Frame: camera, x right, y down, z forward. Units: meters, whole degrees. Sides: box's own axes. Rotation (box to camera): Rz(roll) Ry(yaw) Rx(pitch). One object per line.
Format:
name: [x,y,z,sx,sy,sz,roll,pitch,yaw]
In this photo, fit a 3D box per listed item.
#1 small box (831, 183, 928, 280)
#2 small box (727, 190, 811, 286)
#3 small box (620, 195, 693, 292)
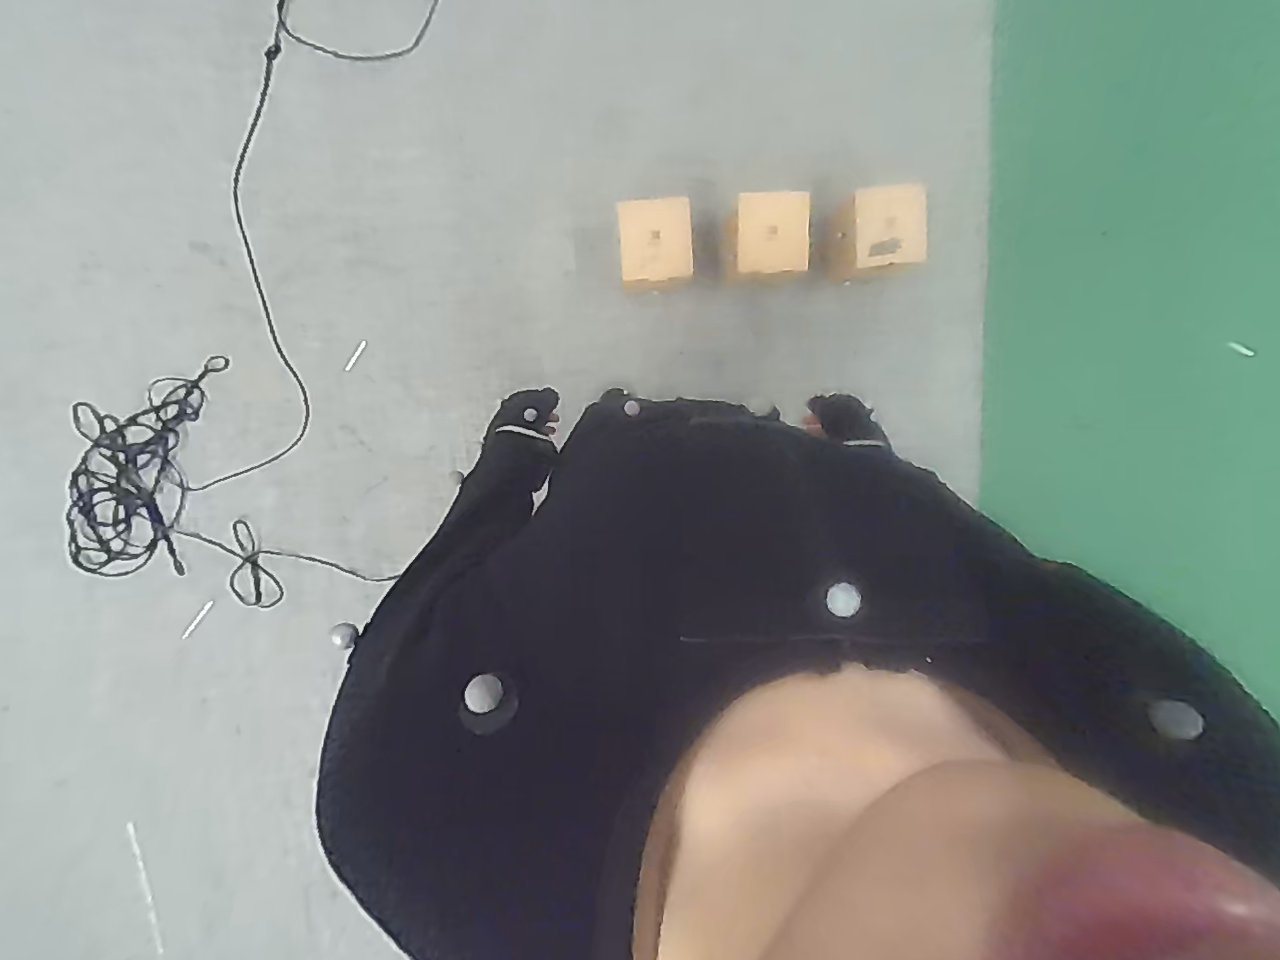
small box: [0.574,-0.592,1.310,0.168,0.176,0.179,-4,98,0]
small box: [0.305,-0.580,1.311,0.168,0.176,0.179,-1,99,-1]
small box: [0.038,-0.566,1.308,0.168,0.176,0.179,-3,99,1]
